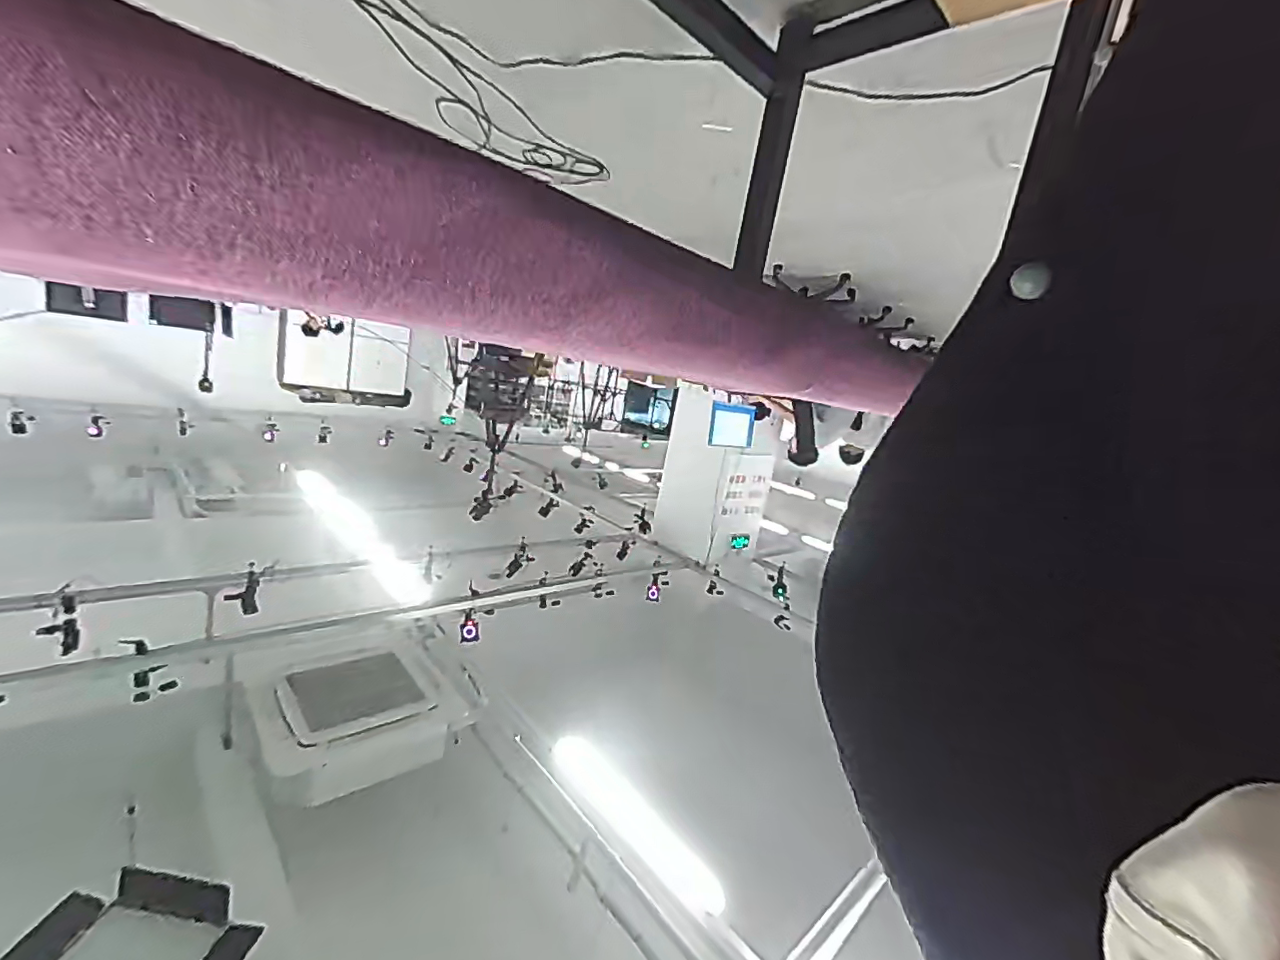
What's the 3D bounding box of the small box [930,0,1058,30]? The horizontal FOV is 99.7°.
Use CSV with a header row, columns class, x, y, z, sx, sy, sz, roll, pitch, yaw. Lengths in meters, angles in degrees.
class,x,y,z,sx,sy,sz,roll,pitch,yaw
small box,0.473,-0.733,0.684,0.179,0.176,0.168,0,-165,-43
